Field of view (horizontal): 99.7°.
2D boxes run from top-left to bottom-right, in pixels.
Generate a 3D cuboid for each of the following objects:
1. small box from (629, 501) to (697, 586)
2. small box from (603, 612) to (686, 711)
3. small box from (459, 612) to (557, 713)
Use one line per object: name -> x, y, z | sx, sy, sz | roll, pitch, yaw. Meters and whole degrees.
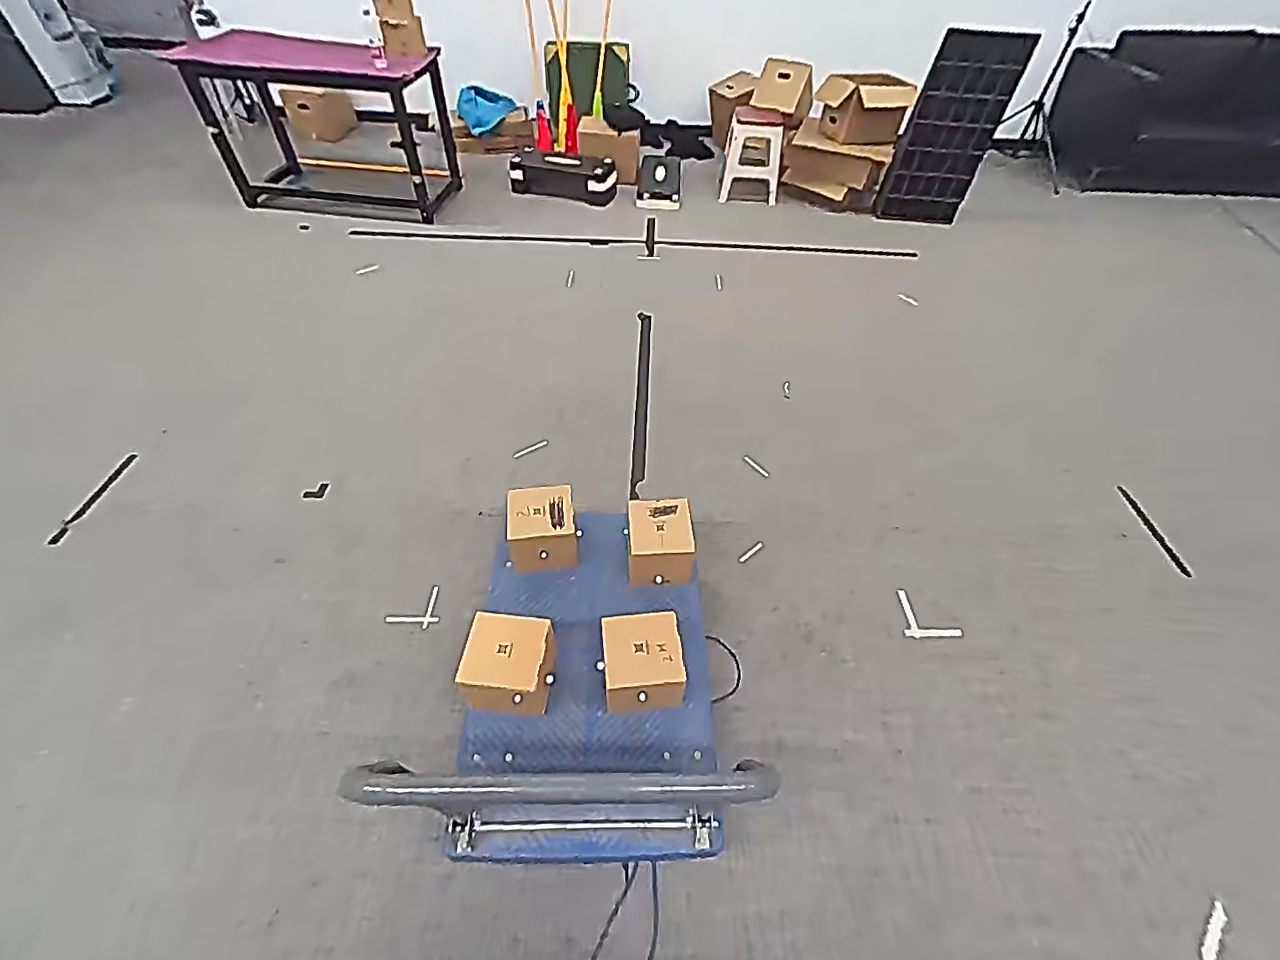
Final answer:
small box -> 0.056, 0.176, 1.492 | 0.168, 0.176, 0.179 | -2, 50, -4
small box -> 0.006, 0.430, 1.270 | 0.179, 0.176, 0.168 | -3, 50, -5
small box -> -0.297, 0.428, 1.261 | 0.179, 0.176, 0.168 | 6, 49, 1
